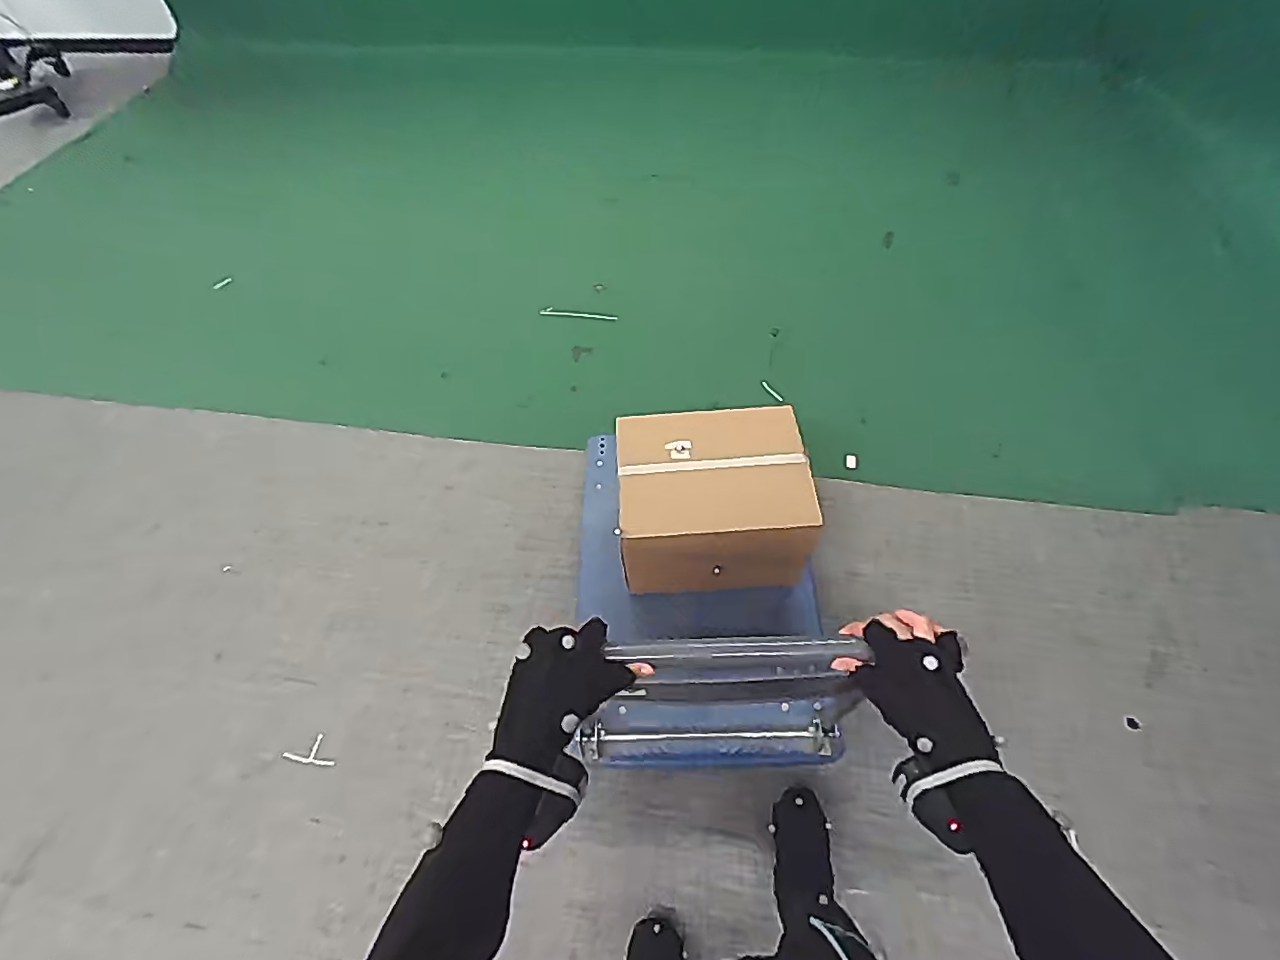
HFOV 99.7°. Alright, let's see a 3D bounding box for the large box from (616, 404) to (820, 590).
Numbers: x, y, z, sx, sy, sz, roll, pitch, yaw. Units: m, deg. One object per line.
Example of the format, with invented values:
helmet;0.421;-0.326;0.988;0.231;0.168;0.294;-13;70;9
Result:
large box;0.163;0.052;1.285;0.408;0.320;0.320;-5;56;1
